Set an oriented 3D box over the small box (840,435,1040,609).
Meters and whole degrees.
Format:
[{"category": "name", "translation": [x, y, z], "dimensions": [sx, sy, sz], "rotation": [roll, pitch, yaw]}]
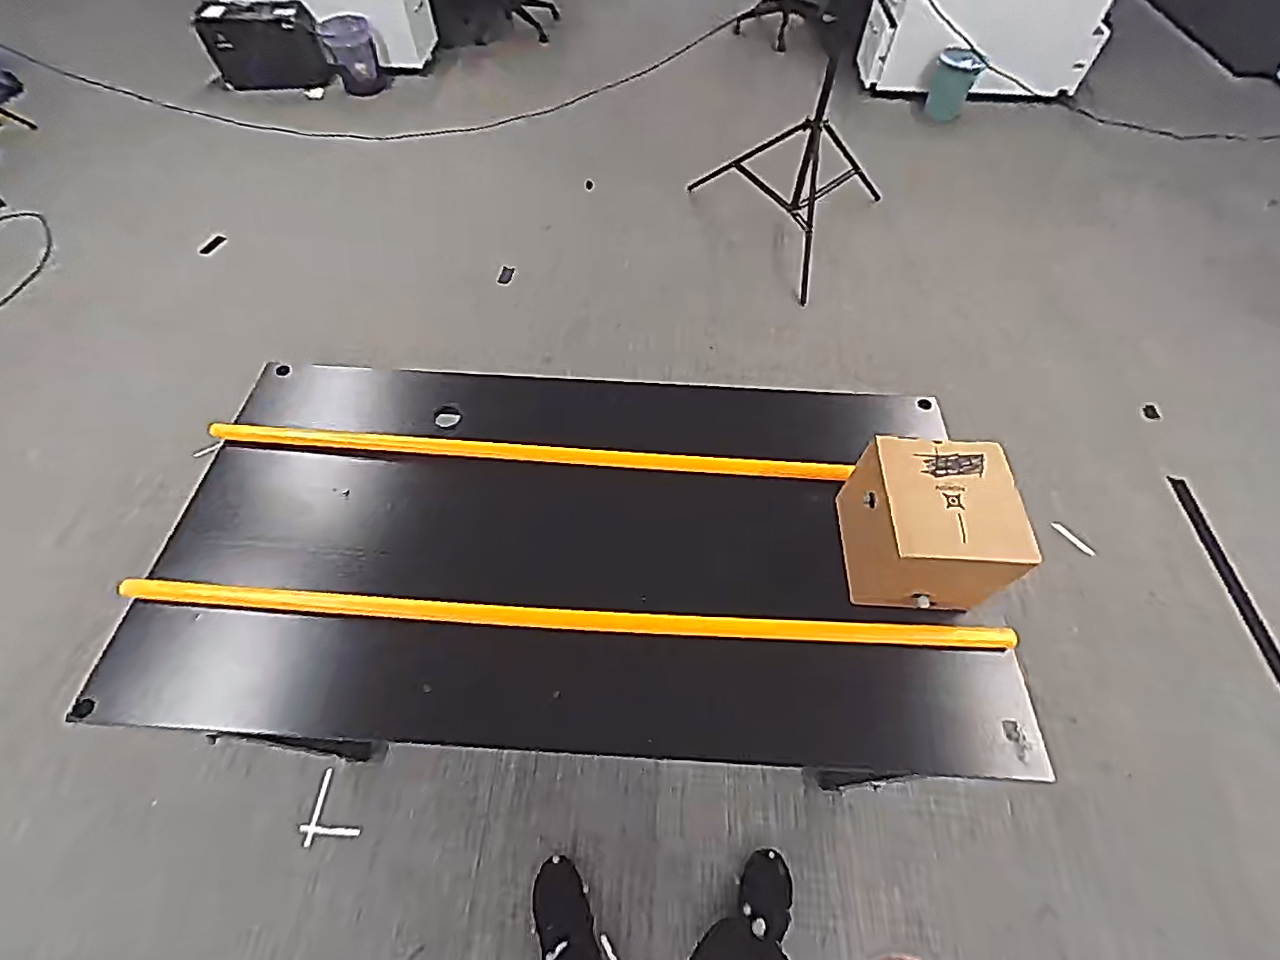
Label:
[{"category": "small box", "translation": [0.387, 0.061, 0.738], "dimensions": [0.168, 0.176, 0.179], "rotation": [3, 58, 2]}]
